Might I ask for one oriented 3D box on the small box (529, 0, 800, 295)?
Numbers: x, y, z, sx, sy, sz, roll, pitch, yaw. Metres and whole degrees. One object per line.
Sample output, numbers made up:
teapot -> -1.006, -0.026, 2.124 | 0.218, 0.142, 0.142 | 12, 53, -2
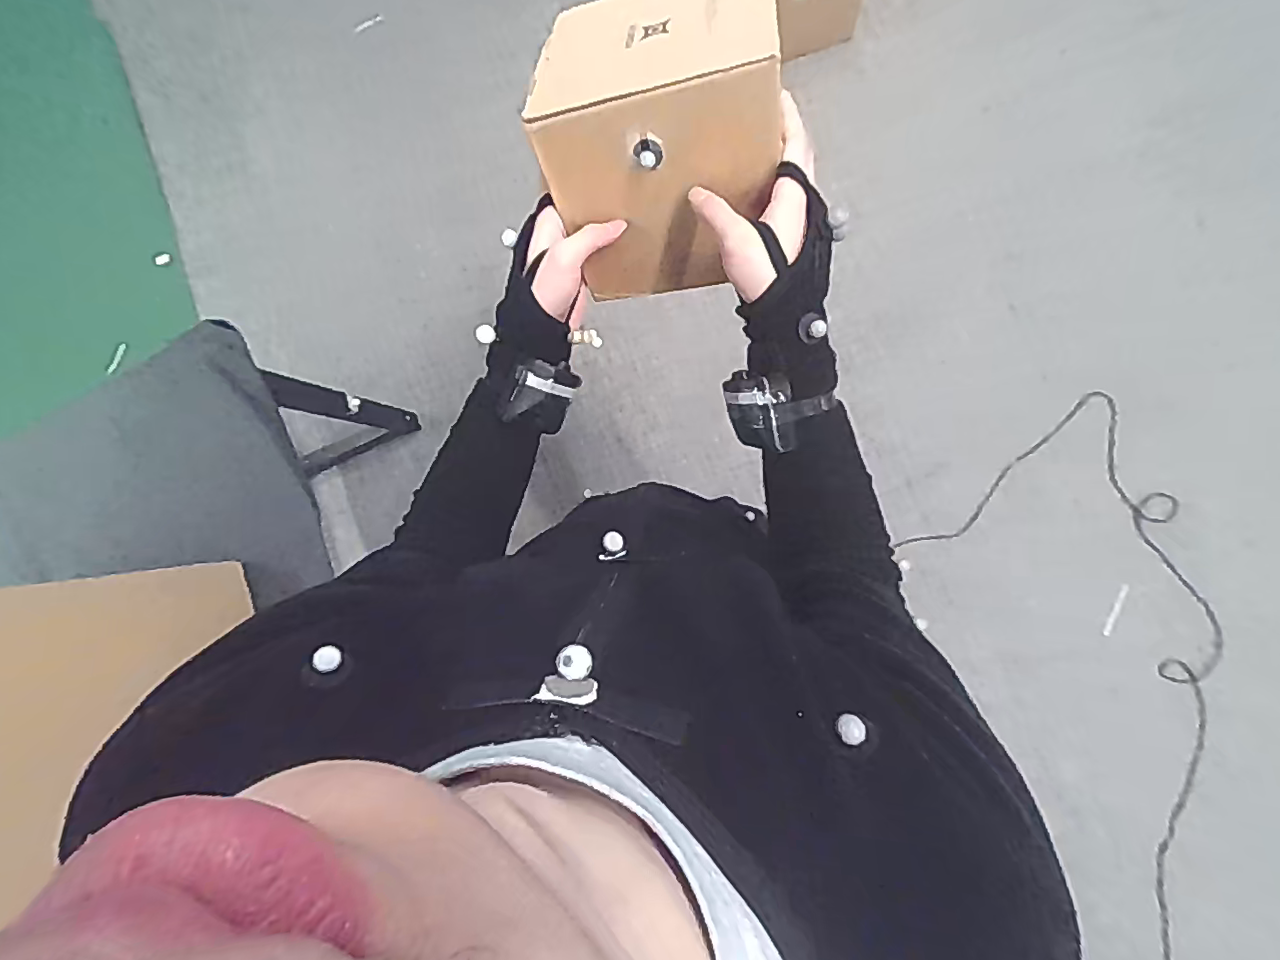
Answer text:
small box -> 0.035, -0.274, 0.441 | 0.179, 0.176, 0.168 | -4, 59, 13
